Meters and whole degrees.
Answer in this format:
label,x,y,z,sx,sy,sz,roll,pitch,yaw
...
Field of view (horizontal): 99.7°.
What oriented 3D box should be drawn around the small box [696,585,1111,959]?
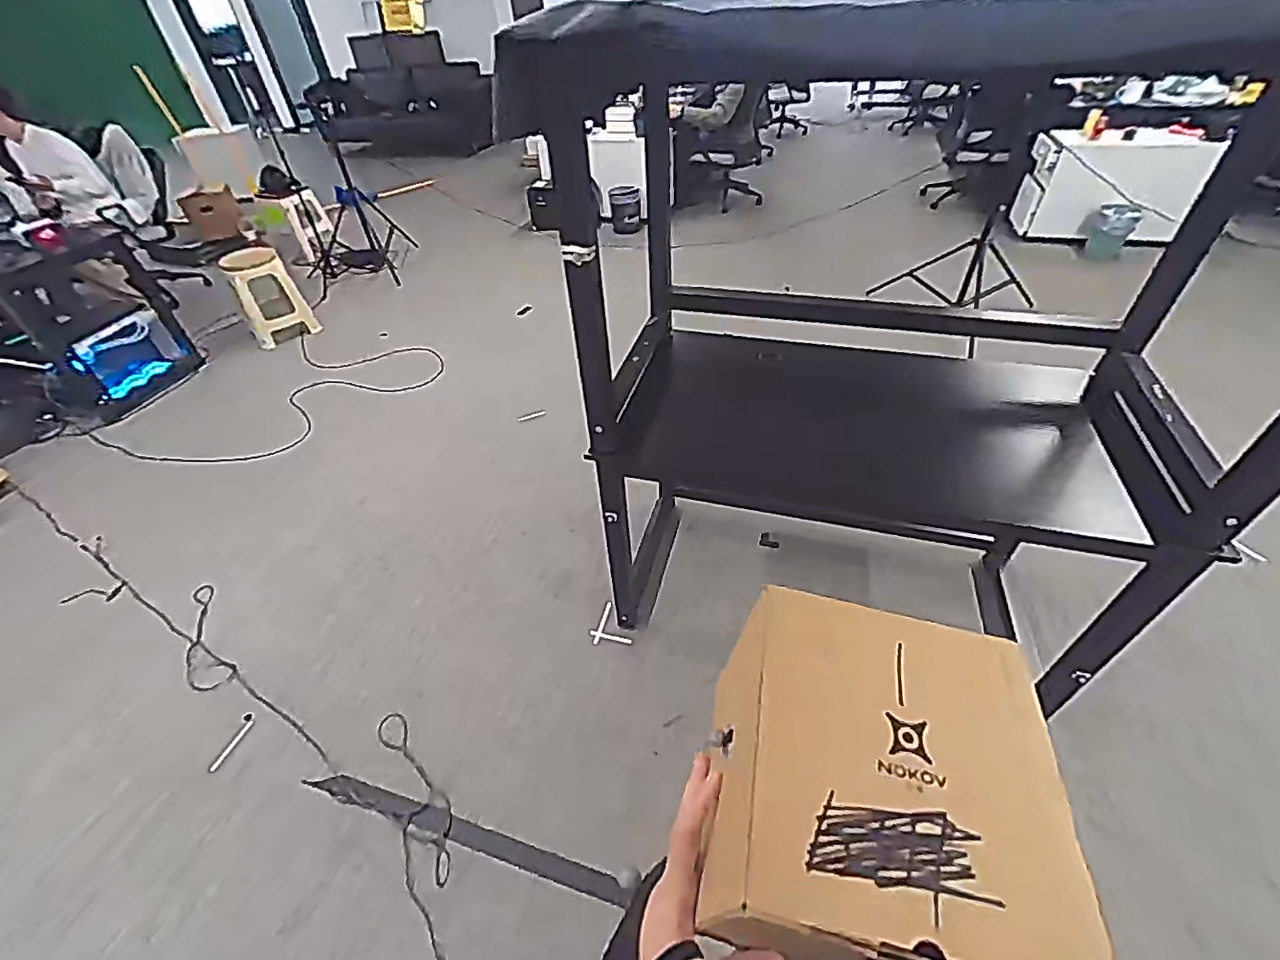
label,x,y,z,sx,sy,sz,roll,pitch,yaw
small box,0.137,0.201,0.349,0.168,0.176,0.179,13,47,4
